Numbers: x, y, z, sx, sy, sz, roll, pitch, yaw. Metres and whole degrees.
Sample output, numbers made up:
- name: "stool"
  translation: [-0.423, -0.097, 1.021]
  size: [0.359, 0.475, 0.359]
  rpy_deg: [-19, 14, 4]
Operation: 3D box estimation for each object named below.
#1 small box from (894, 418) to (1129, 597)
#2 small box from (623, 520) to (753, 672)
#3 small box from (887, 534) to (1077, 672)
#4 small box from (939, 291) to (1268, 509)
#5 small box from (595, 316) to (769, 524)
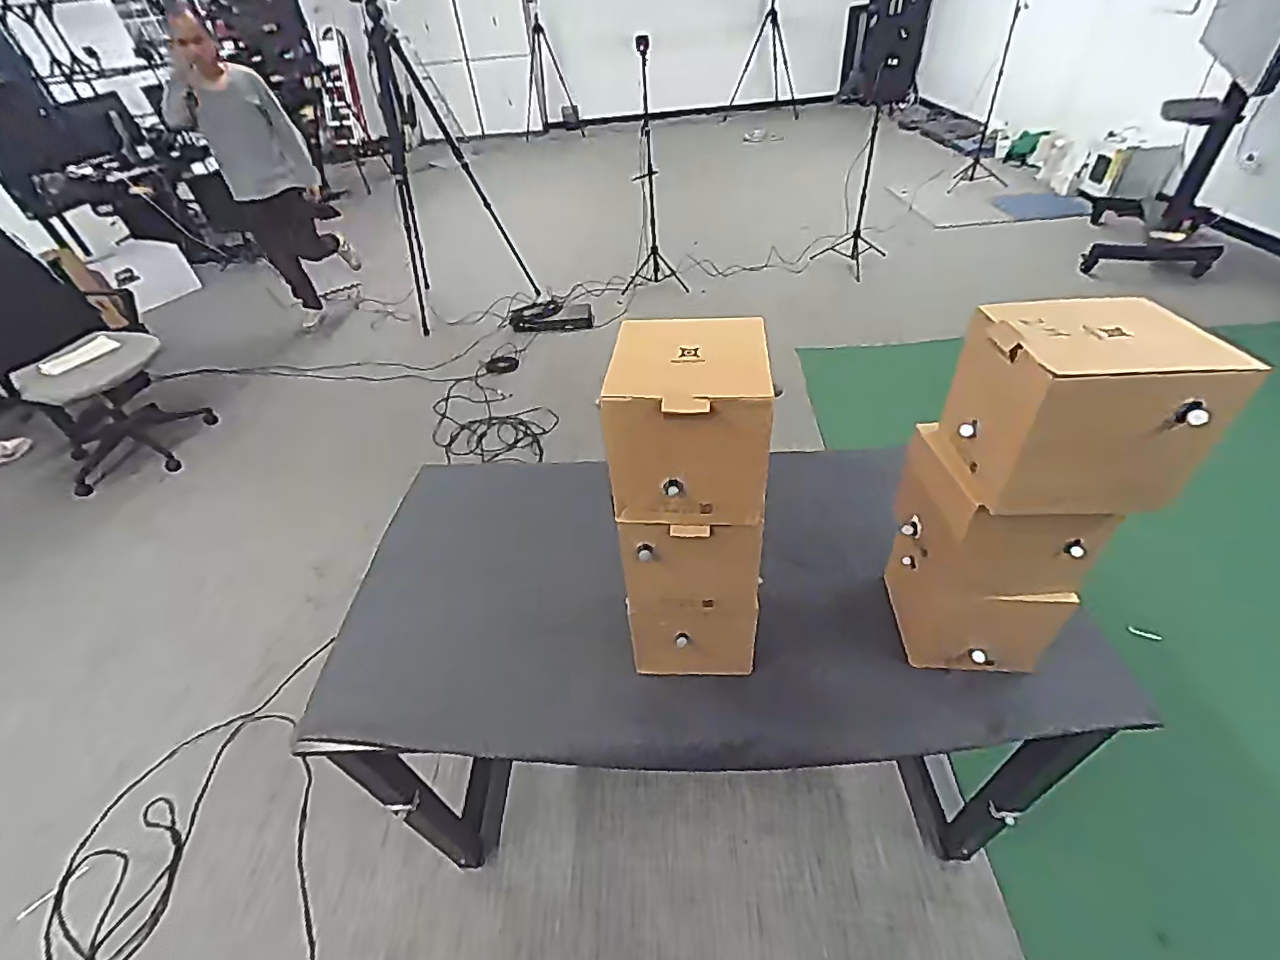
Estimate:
- name: "small box"
  translation: [0.453, 0.031, 0.691]
  size: [0.179, 0.176, 0.168]
  rpy_deg: [-6, 38, 3]
- name: "small box"
  translation: [0.076, 0.177, 0.825]
  size: [0.179, 0.176, 0.168]
  rpy_deg: [-2, 41, 6]
- name: "small box"
  translation: [0.478, 0.154, 0.794]
  size: [0.168, 0.176, 0.179]
  rpy_deg: [0, 41, 9]
- name: "small box"
  translation: [0.451, -0.083, 0.569]
  size: [0.179, 0.176, 0.168]
  rpy_deg: [-2, 38, 6]
- name: "small box"
  translation: [0.050, -0.072, 0.614]
  size: [0.168, 0.176, 0.179]
  rpy_deg: [1, 41, 7]
